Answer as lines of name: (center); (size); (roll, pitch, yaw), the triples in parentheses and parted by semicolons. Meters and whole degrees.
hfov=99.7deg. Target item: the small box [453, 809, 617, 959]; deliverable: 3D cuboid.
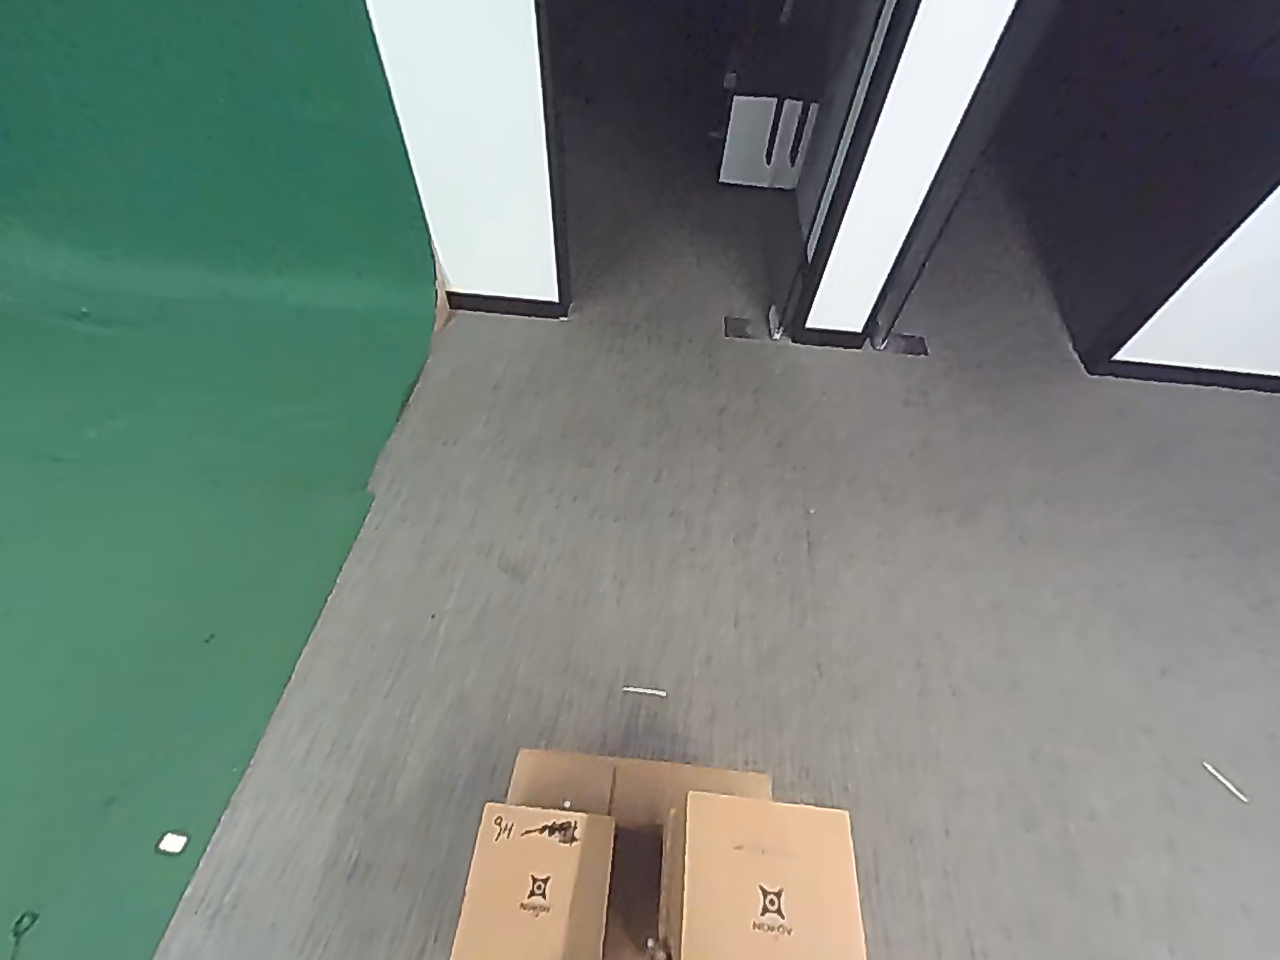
small box: (-0.120, 0.530, 0.682); (0.168, 0.176, 0.179); (7, 55, 0)

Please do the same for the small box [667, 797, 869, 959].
small box: (0.118, 0.446, 0.548); (0.168, 0.176, 0.179); (7, 50, 2)

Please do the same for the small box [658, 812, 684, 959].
small box: (0.112, 0.540, 0.687); (0.168, 0.176, 0.179); (5, 53, 2)
